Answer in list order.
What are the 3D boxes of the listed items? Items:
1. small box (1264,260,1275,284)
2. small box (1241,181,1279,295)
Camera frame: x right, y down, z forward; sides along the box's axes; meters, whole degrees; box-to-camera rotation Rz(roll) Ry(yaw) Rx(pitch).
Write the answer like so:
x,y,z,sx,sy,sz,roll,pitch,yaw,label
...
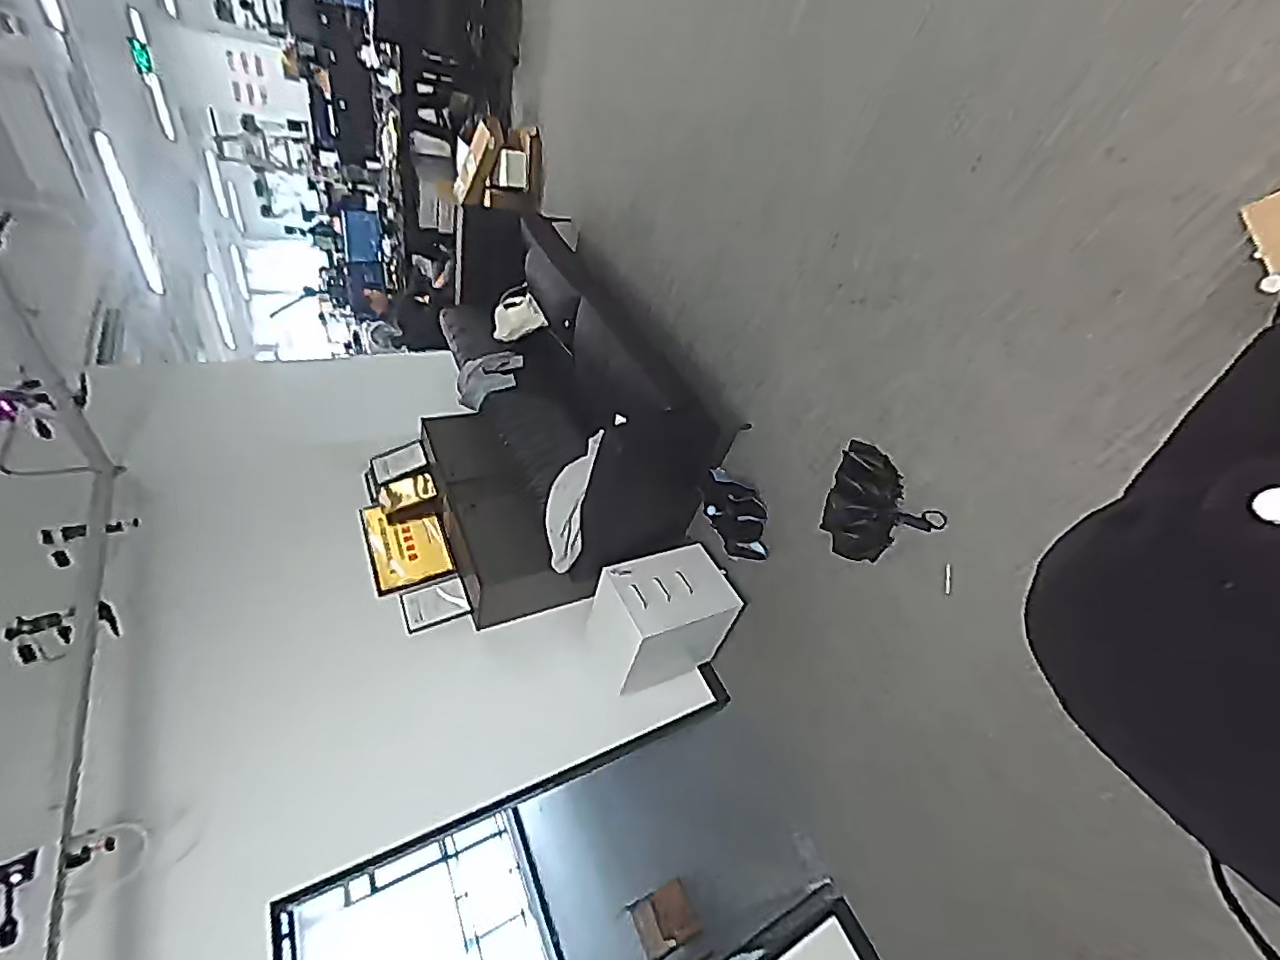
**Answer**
x,y,z,sx,sy,sz,roll,pitch,yaw,label
1.191,-0.434,0.901,0.179,0.176,0.168,-4,98,60,small box
1.064,-0.388,0.804,0.168,0.176,0.179,-29,76,61,small box
